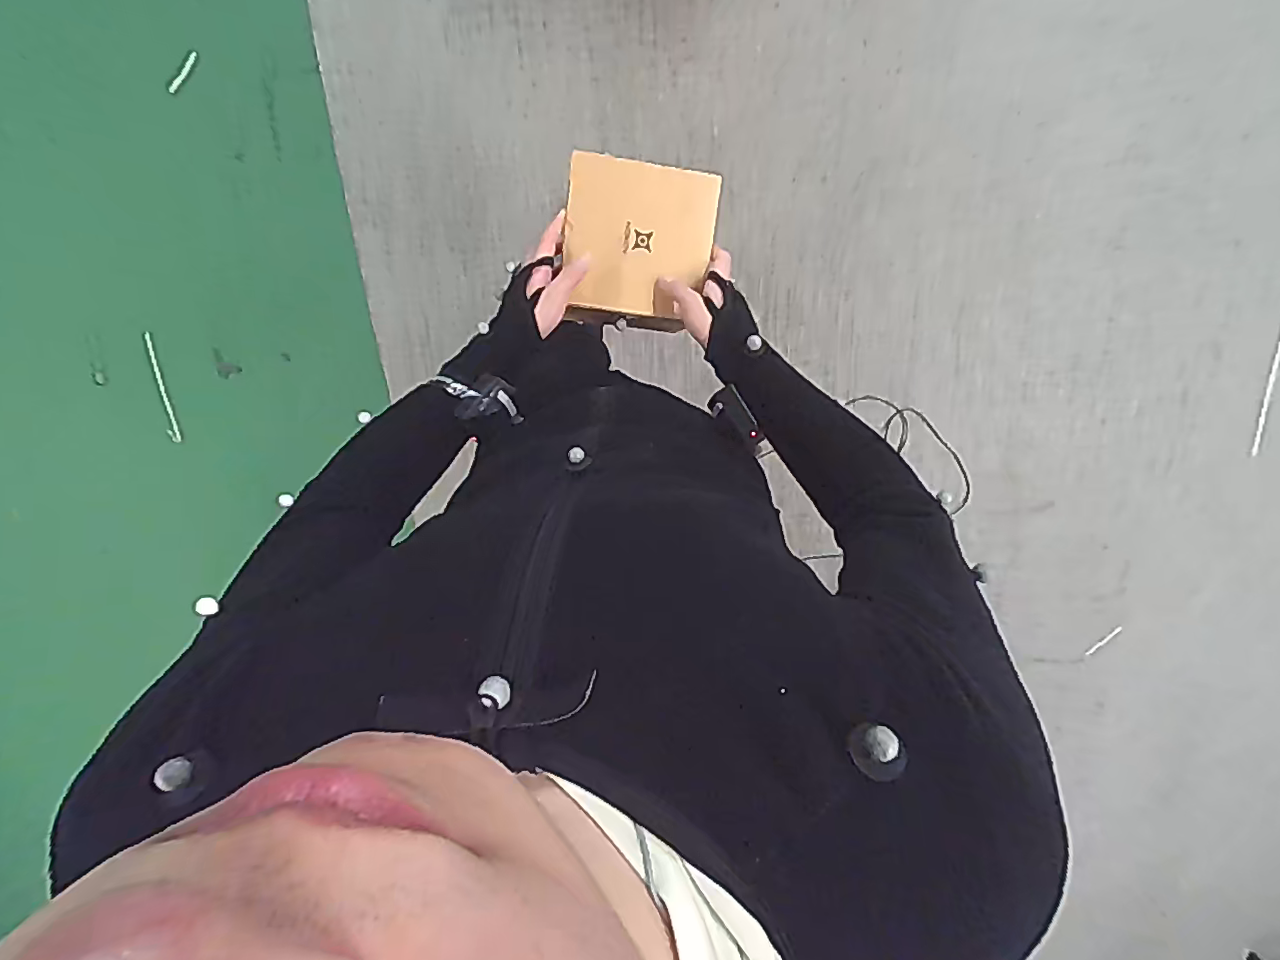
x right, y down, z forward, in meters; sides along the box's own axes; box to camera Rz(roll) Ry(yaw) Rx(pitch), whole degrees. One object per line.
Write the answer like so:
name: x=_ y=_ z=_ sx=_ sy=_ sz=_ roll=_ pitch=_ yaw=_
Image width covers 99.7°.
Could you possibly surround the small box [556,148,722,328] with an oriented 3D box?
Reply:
small box: x=-0.009 y=-0.292 z=0.693 sx=0.179 sy=0.176 sz=0.168 roll=6 pitch=101 yaw=-6
